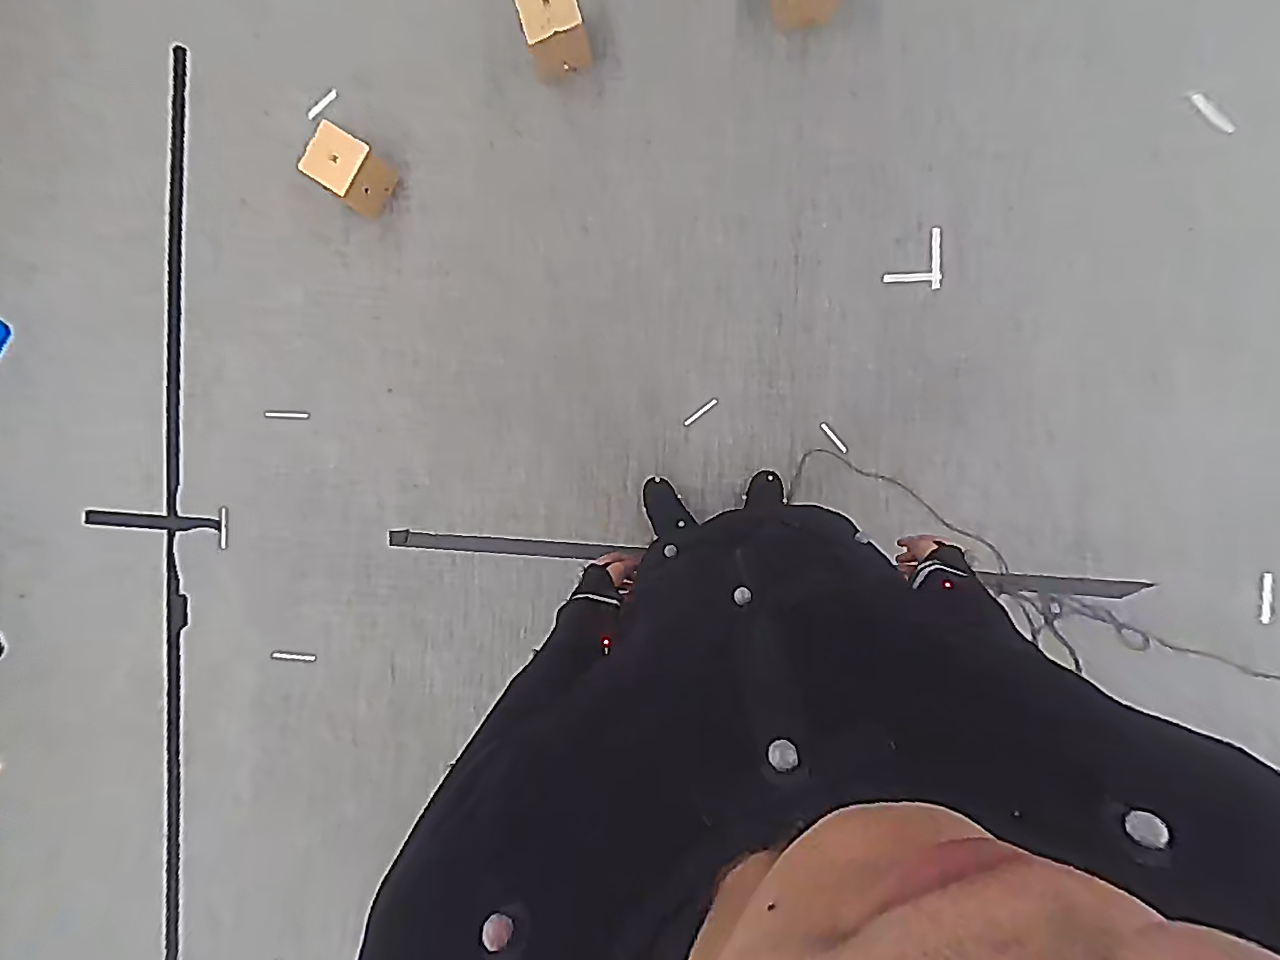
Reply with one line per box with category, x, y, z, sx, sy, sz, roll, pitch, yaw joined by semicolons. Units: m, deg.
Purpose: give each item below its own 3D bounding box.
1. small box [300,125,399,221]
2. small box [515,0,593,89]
small box;-0.884;-0.932;1.664;0.179;0.176;0.168;33;95;5
small box;-0.250;-1.312;1.588;0.168;0.176;0.179;-17;89;7
